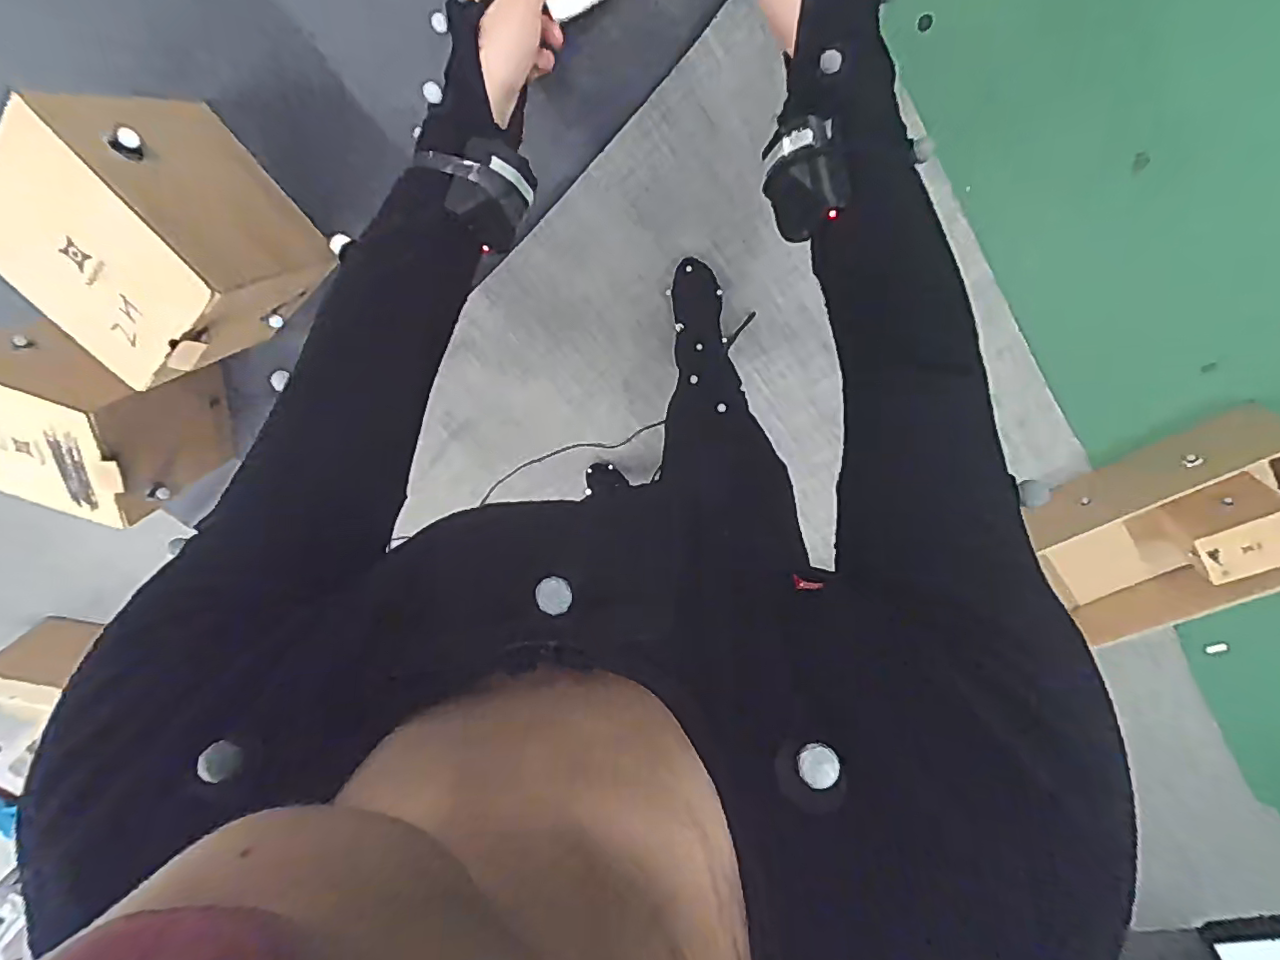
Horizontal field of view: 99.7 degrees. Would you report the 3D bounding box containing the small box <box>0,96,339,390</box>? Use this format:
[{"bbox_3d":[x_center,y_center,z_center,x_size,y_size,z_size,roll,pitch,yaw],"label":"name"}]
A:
[{"bbox_3d":[-0.445,-0.224,0.522,0.168,0.176,0.179,-29,113,26],"label":"small box"}]

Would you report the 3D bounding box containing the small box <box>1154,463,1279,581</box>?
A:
[{"bbox_3d":[1.344,0.091,1.230,0.179,0.176,0.168,-33,114,28],"label":"small box"}]
